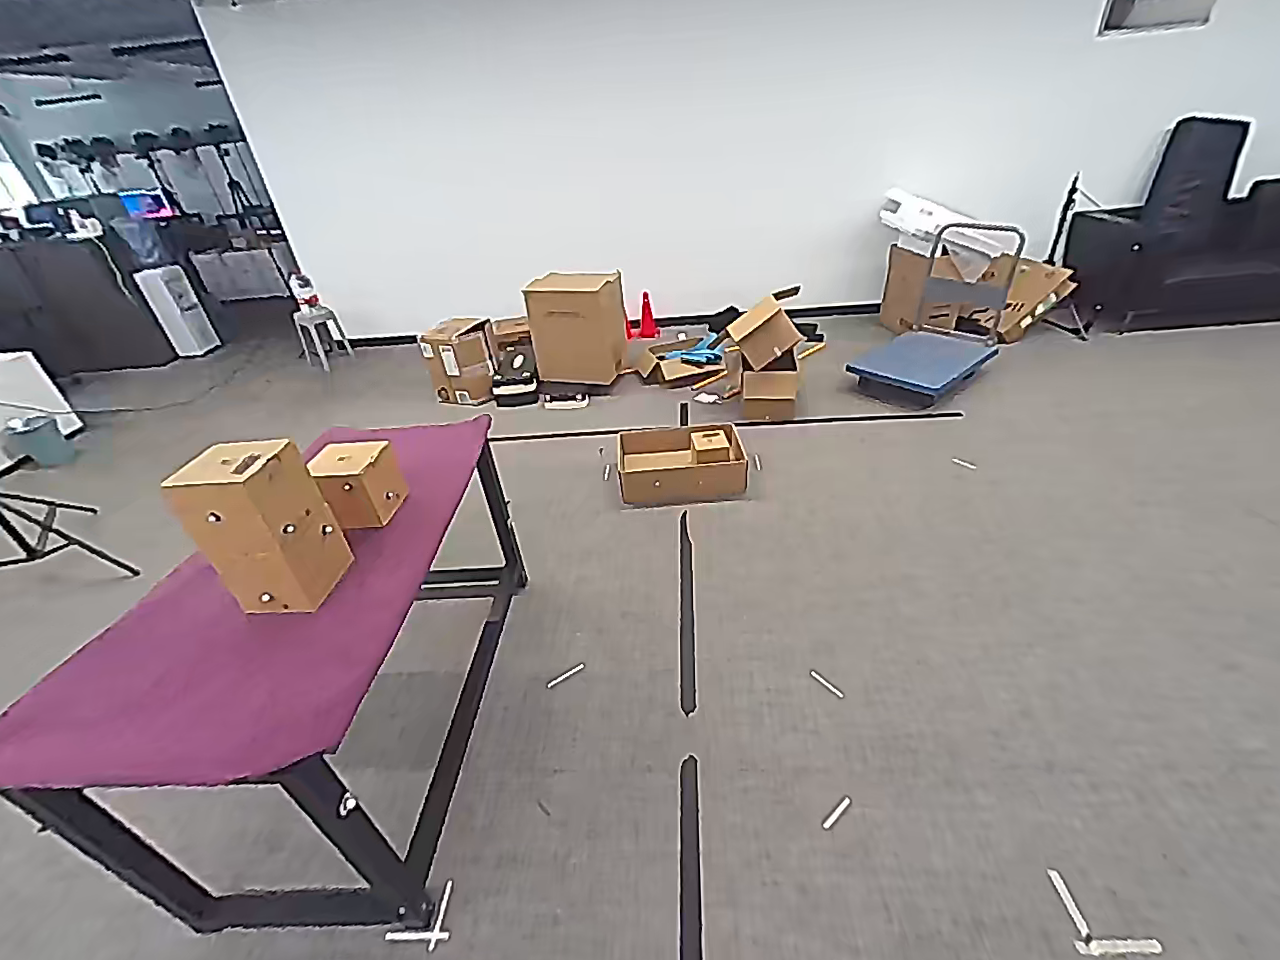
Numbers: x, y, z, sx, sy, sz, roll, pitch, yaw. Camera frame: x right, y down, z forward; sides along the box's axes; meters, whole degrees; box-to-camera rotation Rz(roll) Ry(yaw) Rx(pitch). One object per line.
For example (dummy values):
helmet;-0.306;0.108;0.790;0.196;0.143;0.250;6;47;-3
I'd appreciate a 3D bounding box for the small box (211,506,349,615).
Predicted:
small box;-0.777;0.176;1.196;0.168;0.176;0.179;-3;33;6

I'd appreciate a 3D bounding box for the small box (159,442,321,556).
small box;-0.800;0.039;1.106;0.179;0.176;0.168;-4;33;4

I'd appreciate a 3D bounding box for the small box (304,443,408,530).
small box;-0.751;0.020;1.429;0.179;0.176;0.168;-3;33;6
